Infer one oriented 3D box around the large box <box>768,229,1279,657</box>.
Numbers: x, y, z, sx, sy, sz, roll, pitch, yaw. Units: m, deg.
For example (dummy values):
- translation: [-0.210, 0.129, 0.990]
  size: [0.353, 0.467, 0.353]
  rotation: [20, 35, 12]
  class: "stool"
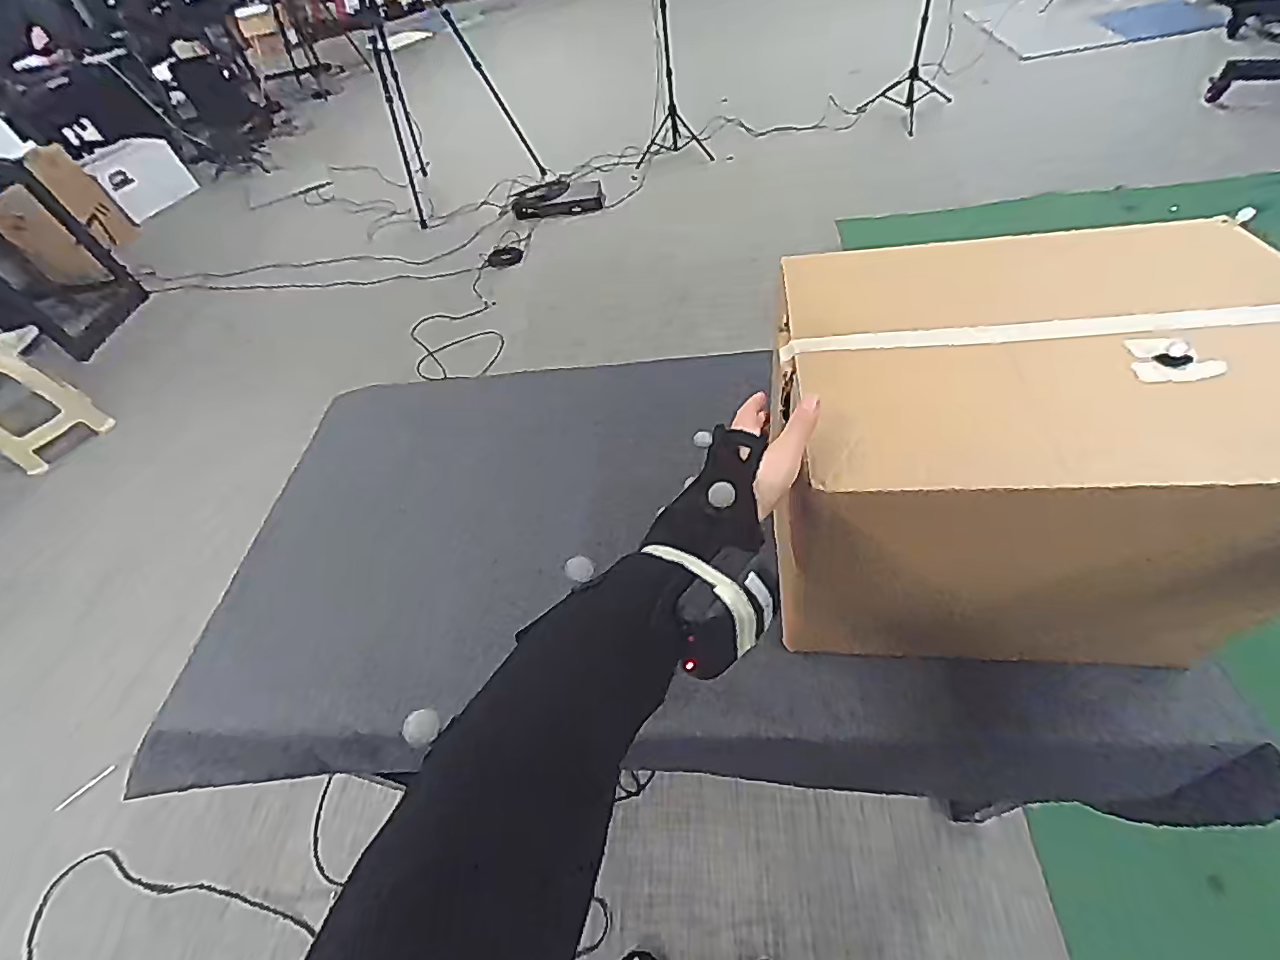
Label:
- translation: [0.354, -0.023, 0.563]
  size: [0.408, 0.320, 0.320]
  rotation: [0, 52, 9]
  class: "large box"
